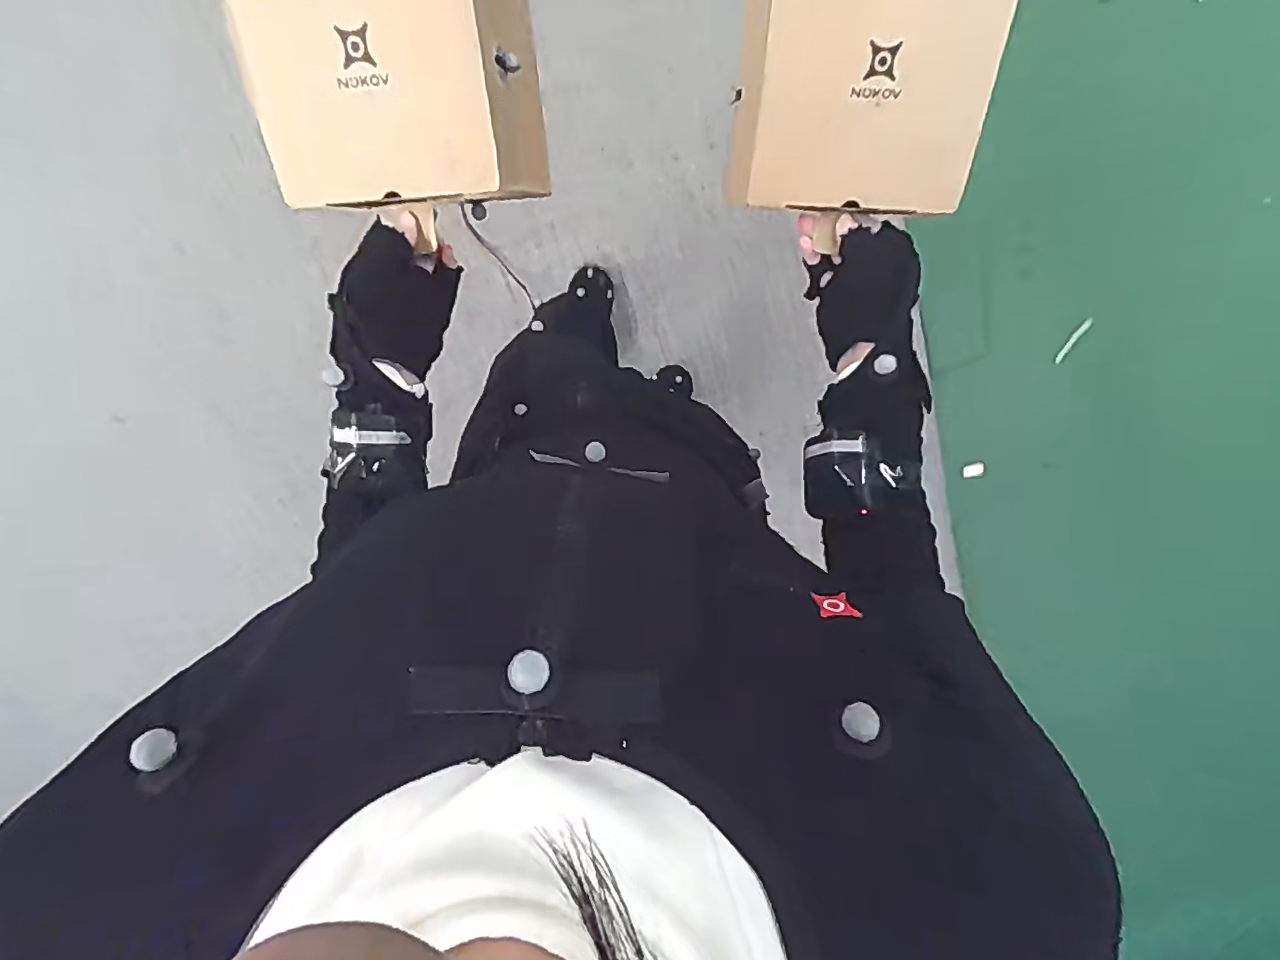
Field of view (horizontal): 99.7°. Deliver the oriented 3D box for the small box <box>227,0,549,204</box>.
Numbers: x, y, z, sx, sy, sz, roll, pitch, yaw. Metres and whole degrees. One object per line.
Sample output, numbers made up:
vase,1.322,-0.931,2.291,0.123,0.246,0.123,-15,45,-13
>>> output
small box,-0.177,-0.323,0.424,0.168,0.176,0.179,-3,116,5
